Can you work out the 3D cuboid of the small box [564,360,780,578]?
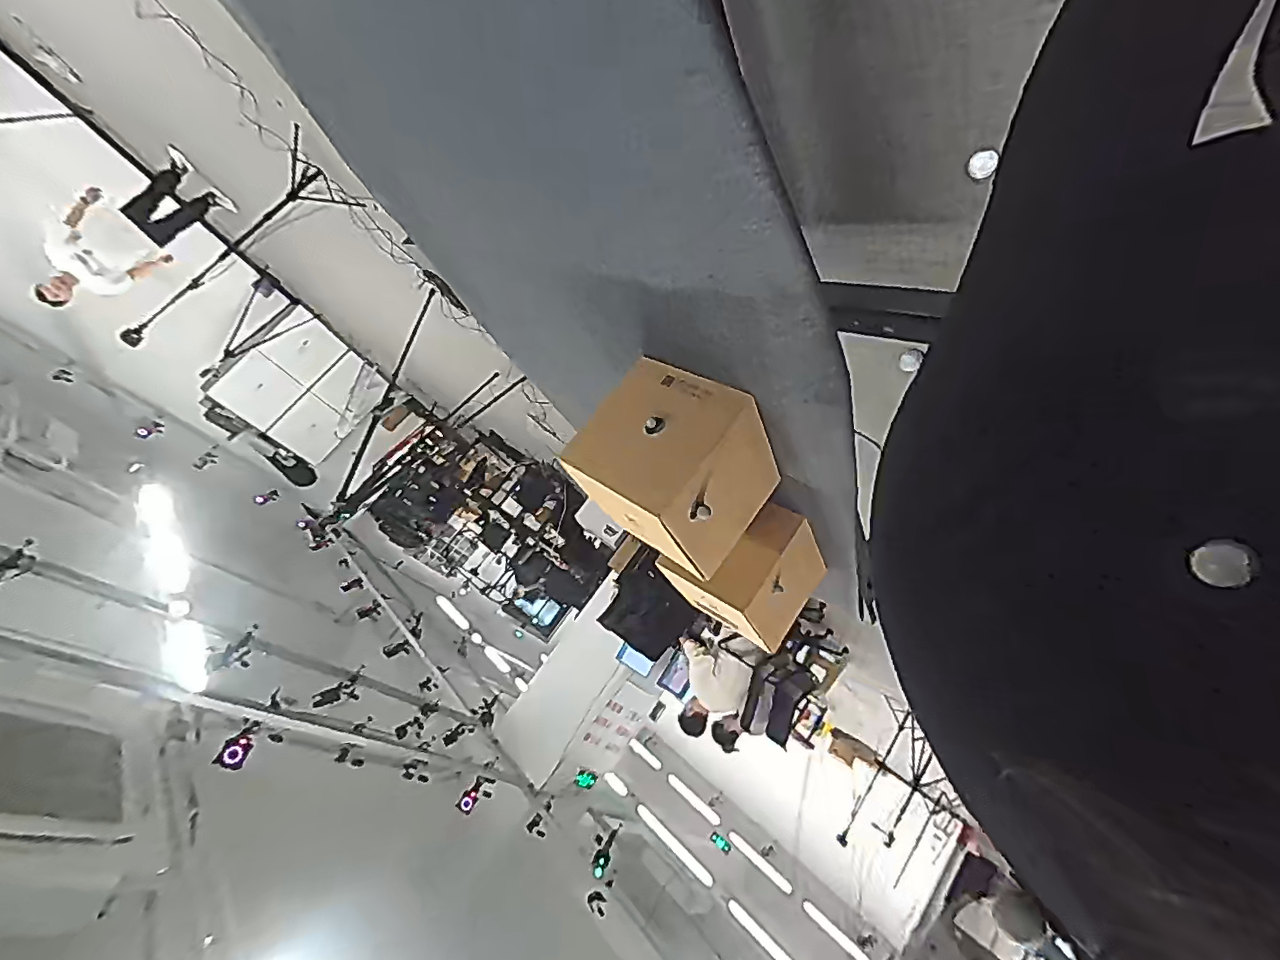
[{"bbox_3d":[0.047,-0.017,0.657,0.168,0.176,0.179,30,165,36],"label":"small box"}]
